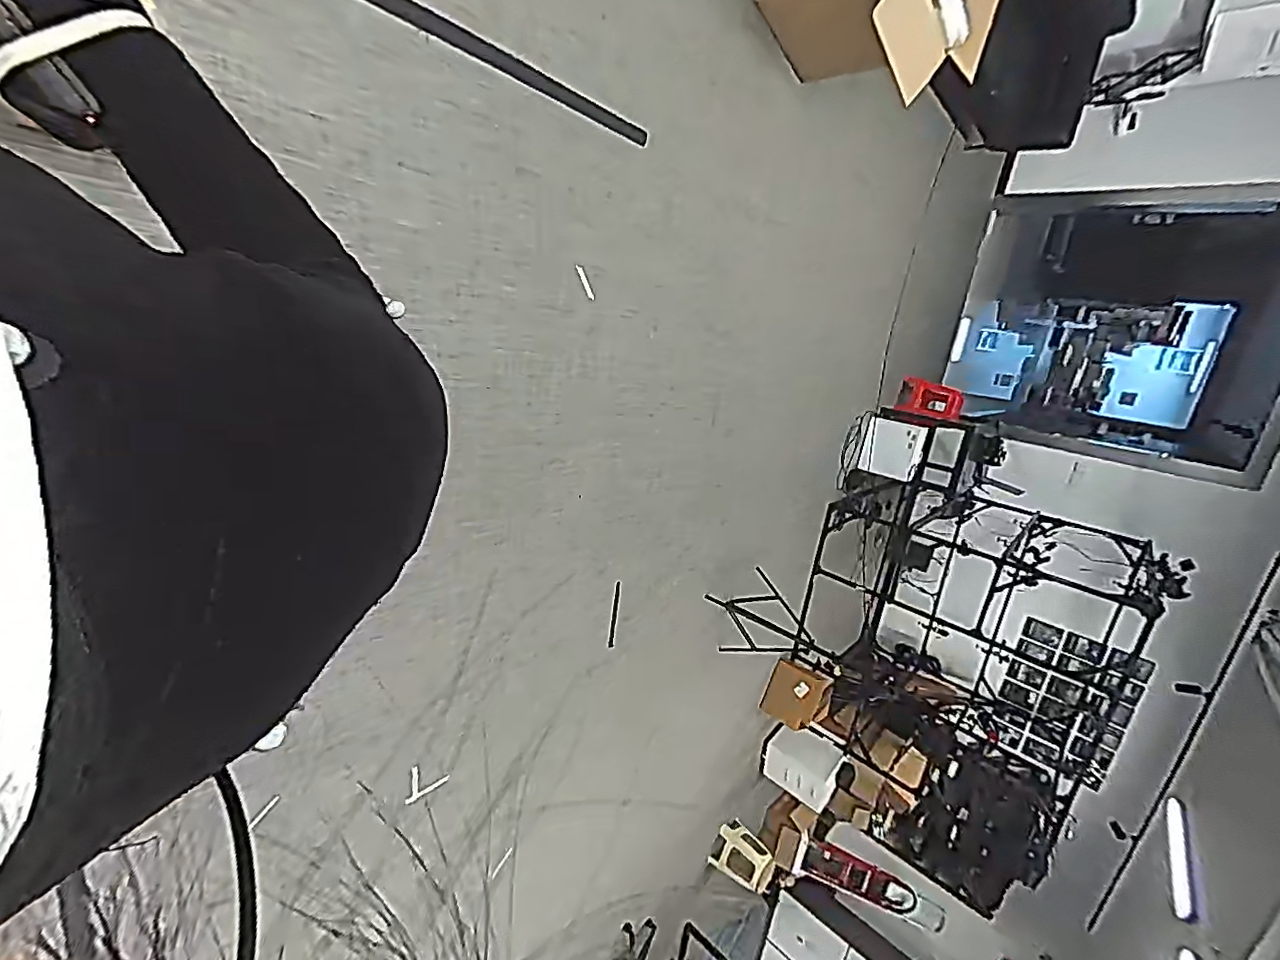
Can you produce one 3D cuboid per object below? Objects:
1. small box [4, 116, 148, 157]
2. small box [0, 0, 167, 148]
[{"bbox_3d":[-0.959,-0.662,0.908,0.168,0.176,0.179,-13,116,-47],"label":"small box"},{"bbox_3d":[-0.841,-0.612,0.802,0.179,0.176,0.168,-14,116,-48],"label":"small box"}]
